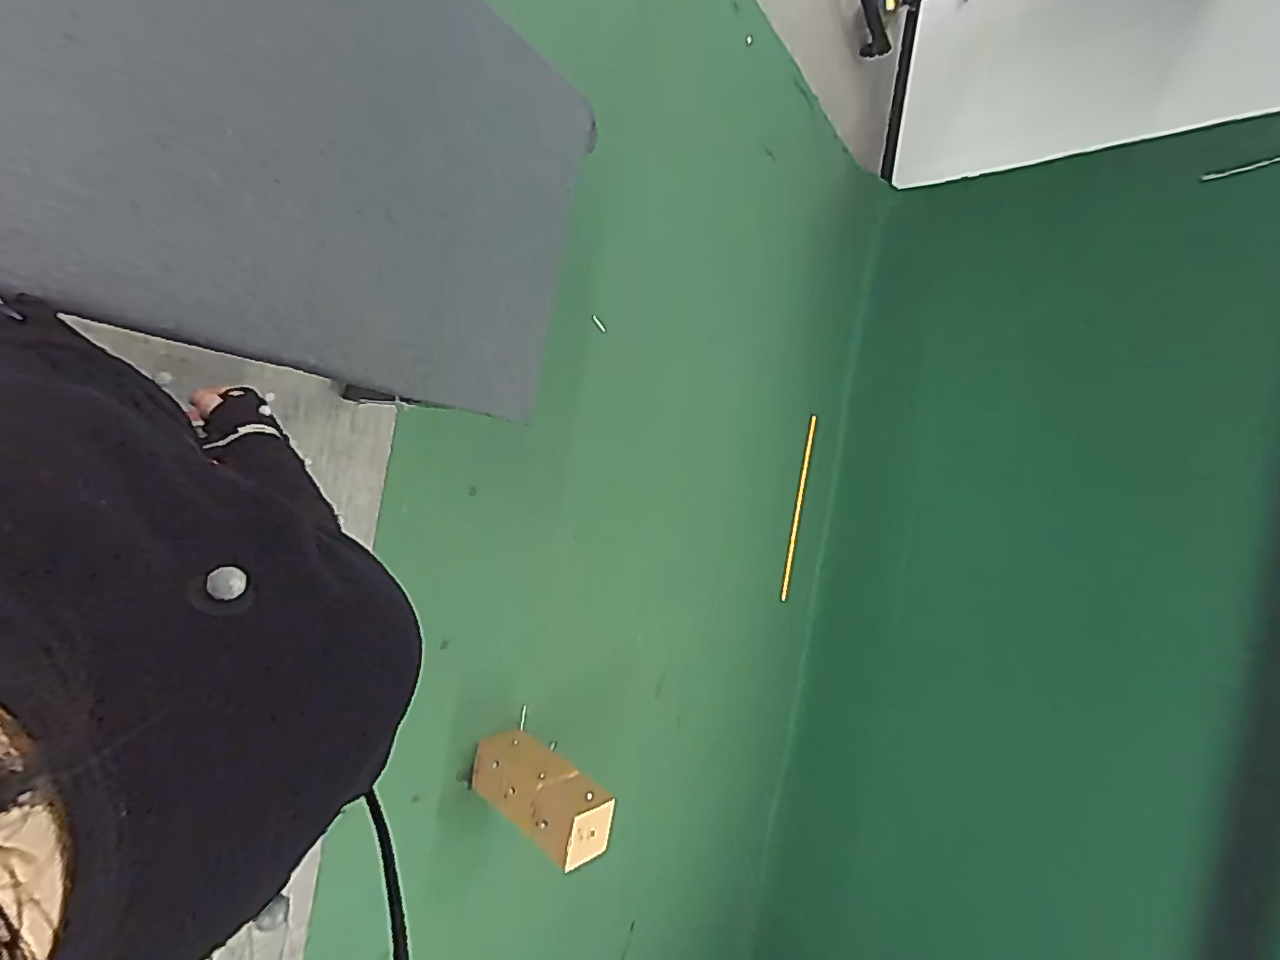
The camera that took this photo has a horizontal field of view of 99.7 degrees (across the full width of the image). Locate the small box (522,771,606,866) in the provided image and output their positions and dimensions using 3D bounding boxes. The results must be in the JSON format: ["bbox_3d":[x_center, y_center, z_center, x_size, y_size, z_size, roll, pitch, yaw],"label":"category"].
[{"bbox_3d":[-0.236,1.035,1.675,0.179,0.176,0.168,12,88,-49],"label":"small box"}]

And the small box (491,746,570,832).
[{"bbox_3d":[-0.361,1.005,1.779,0.179,0.176,0.168,10,90,-49],"label":"small box"}]
